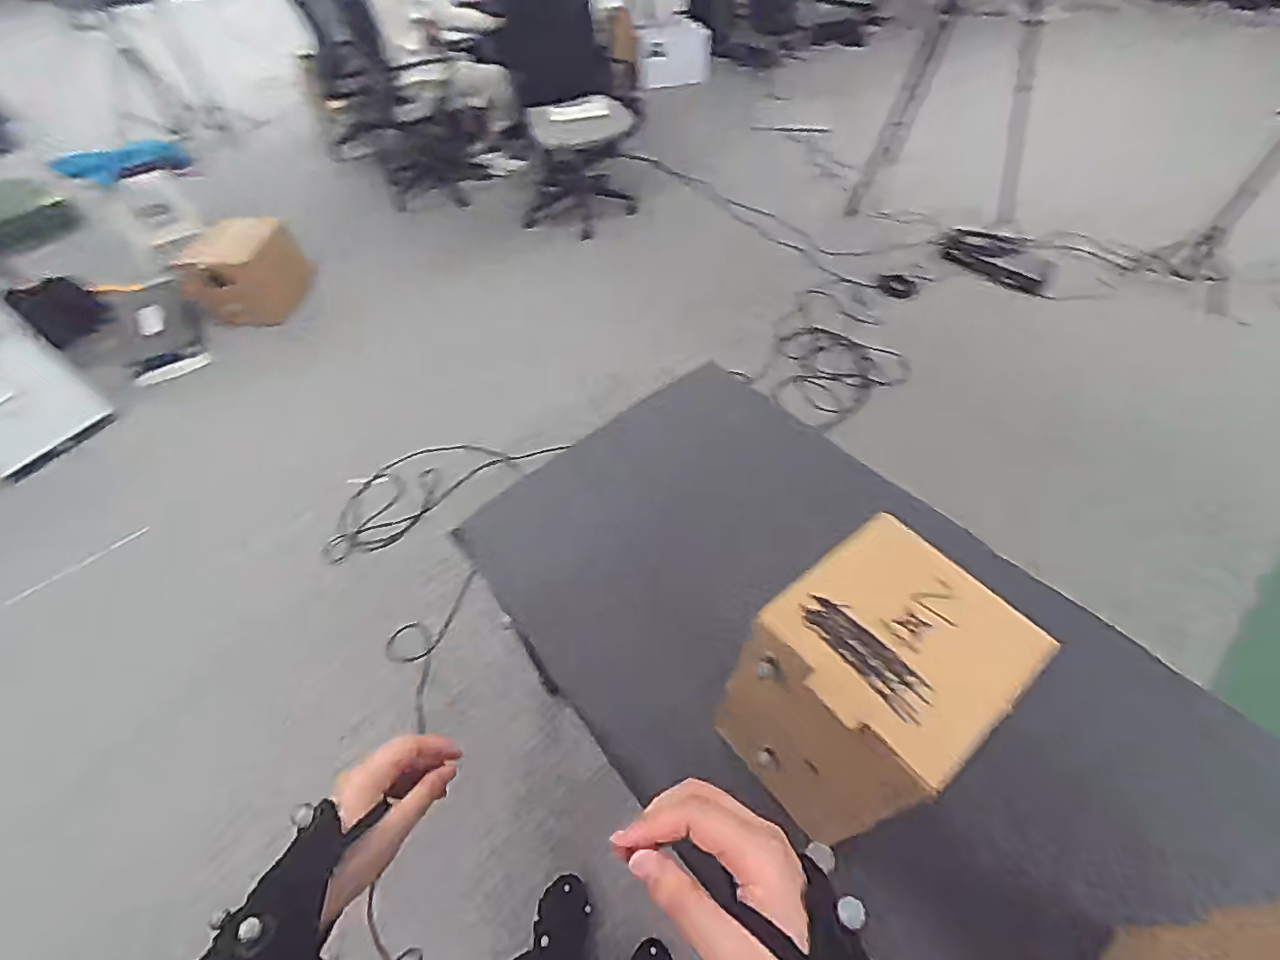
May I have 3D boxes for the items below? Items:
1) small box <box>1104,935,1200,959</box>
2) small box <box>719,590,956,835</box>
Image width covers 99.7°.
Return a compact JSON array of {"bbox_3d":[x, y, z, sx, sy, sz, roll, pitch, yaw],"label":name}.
[{"bbox_3d":[0.475,0.499,0.423,0.179,0.176,0.168,-29,55,-22],"label":"small box"},{"bbox_3d":[0.209,0.269,0.623,0.168,0.176,0.179,-33,56,-23],"label":"small box"}]
